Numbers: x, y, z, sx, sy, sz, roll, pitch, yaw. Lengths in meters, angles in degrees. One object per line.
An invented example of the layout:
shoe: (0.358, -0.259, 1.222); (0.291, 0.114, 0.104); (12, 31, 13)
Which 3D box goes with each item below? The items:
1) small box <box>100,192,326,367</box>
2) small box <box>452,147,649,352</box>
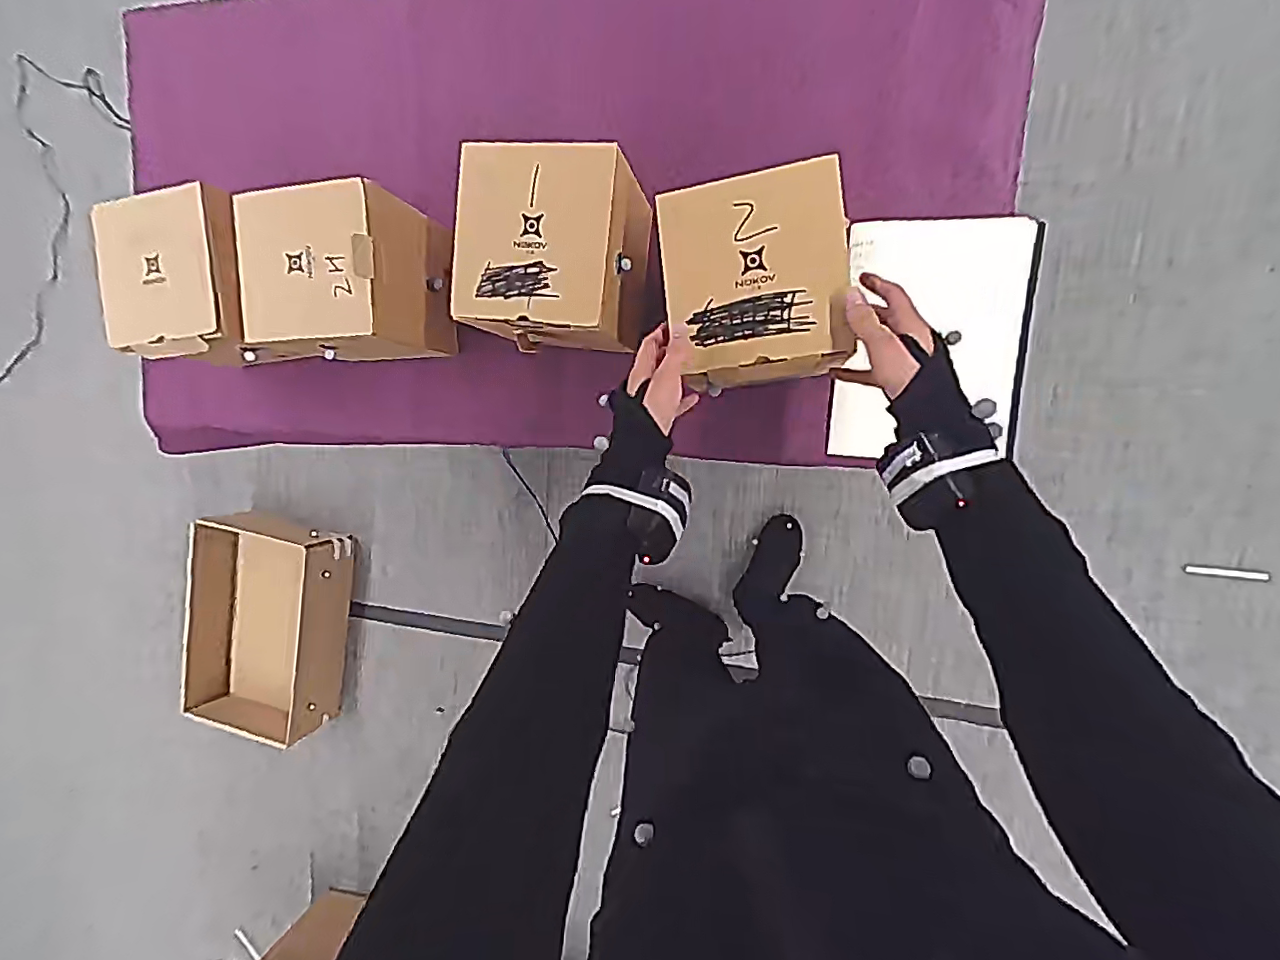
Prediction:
small box: (-0.553, -0.249, 0.722); (0.168, 0.176, 0.179); (-4, 94, 12)
small box: (-0.091, -0.247, 0.616); (0.168, 0.176, 0.179); (7, 96, 12)
